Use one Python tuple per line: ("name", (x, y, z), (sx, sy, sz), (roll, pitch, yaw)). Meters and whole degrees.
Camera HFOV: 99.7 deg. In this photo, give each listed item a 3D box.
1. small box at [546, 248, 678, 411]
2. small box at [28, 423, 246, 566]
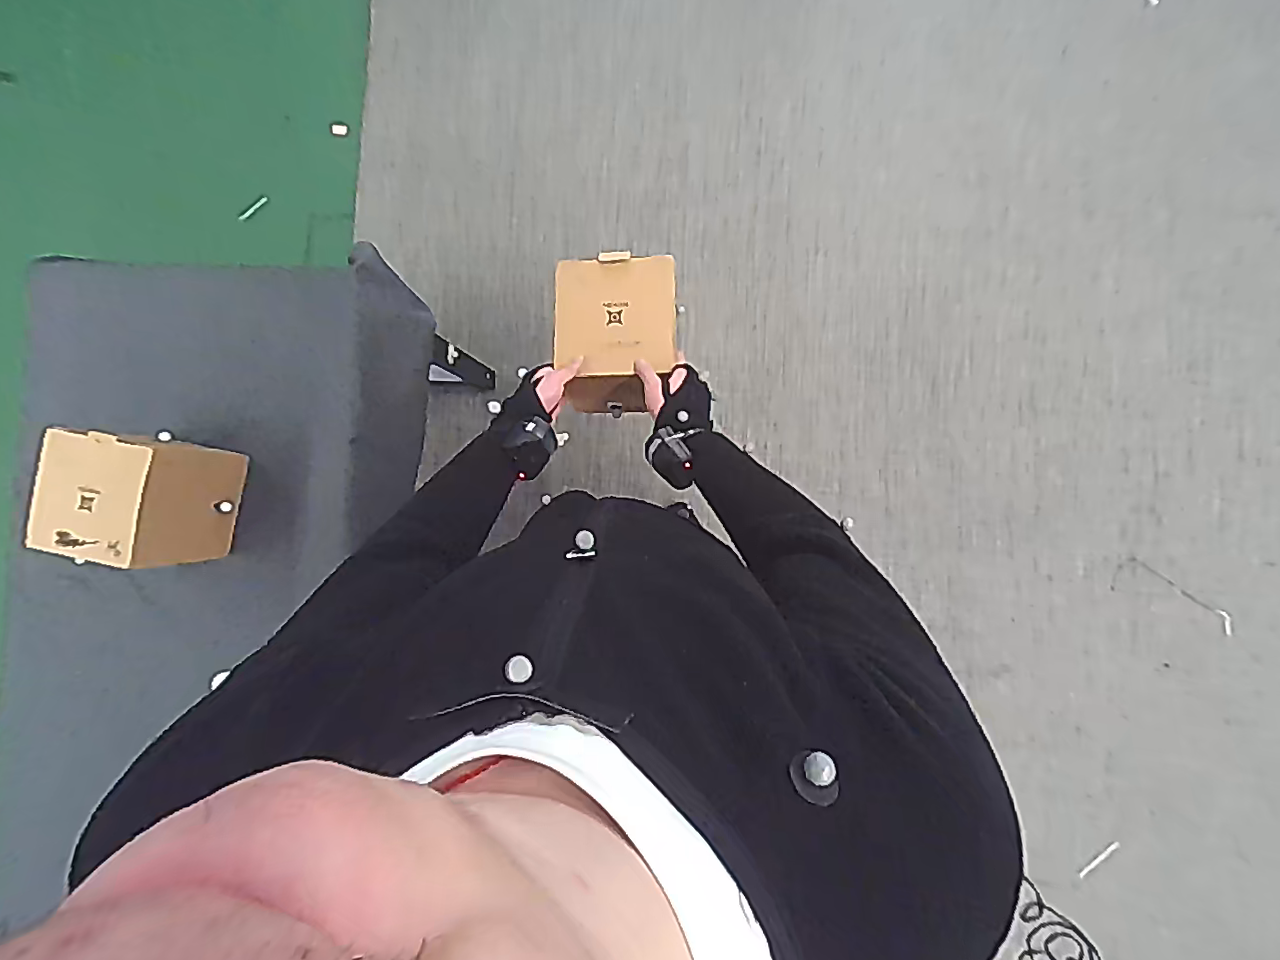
("small box", (-0.031, -0.212, 0.793), (0.168, 0.176, 0.179), (0, 79, 6))
("small box", (-0.760, 0.023, 0.838), (0.168, 0.176, 0.179), (11, 89, 5))
